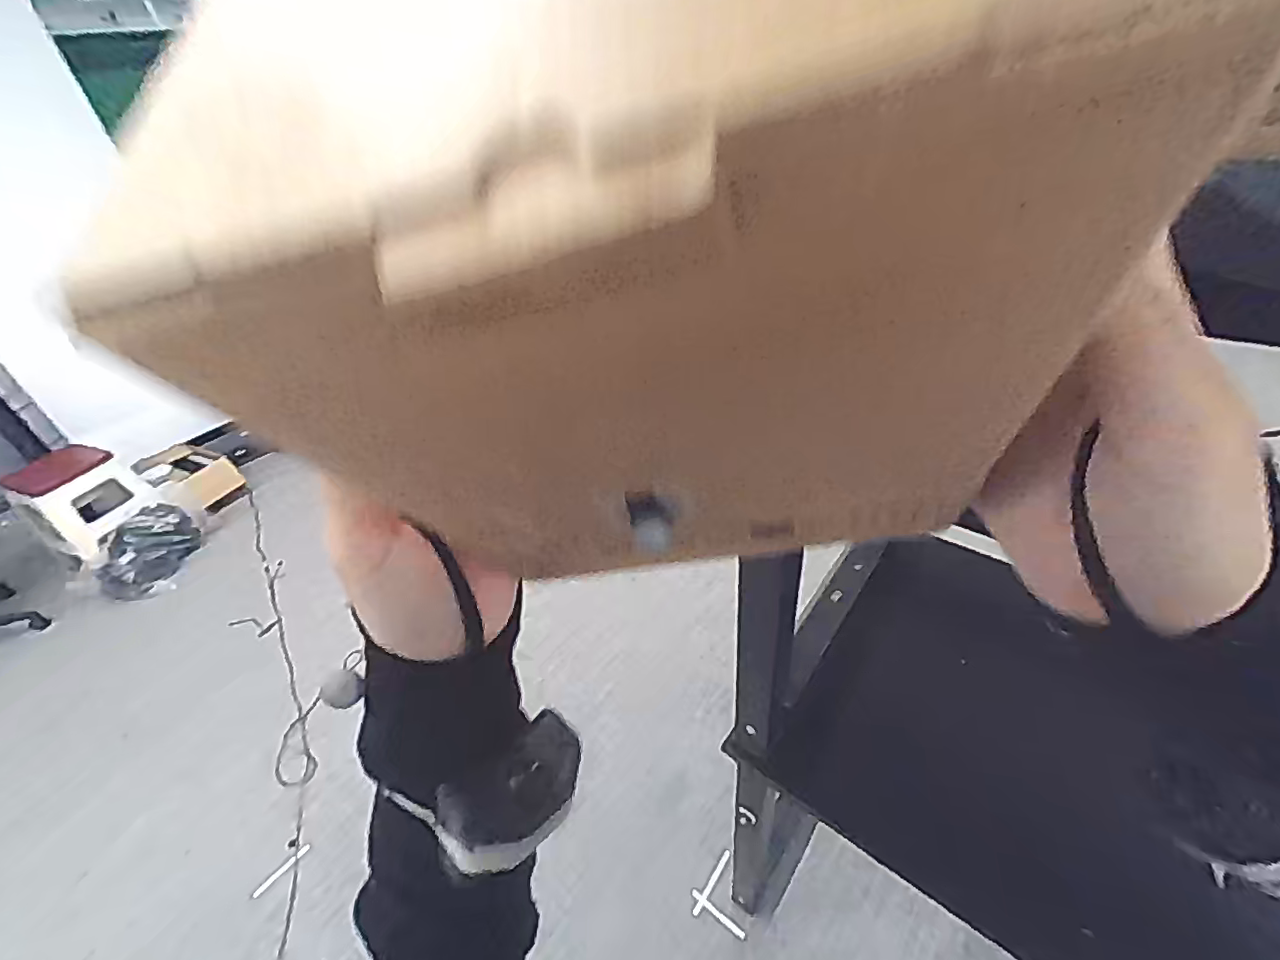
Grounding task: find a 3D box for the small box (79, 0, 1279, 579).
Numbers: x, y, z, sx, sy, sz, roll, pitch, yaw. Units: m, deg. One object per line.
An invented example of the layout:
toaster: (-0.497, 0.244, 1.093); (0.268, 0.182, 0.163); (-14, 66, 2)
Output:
small box: (0.005, -0.080, 0.175); (0.168, 0.176, 0.179); (-10, 65, 13)
